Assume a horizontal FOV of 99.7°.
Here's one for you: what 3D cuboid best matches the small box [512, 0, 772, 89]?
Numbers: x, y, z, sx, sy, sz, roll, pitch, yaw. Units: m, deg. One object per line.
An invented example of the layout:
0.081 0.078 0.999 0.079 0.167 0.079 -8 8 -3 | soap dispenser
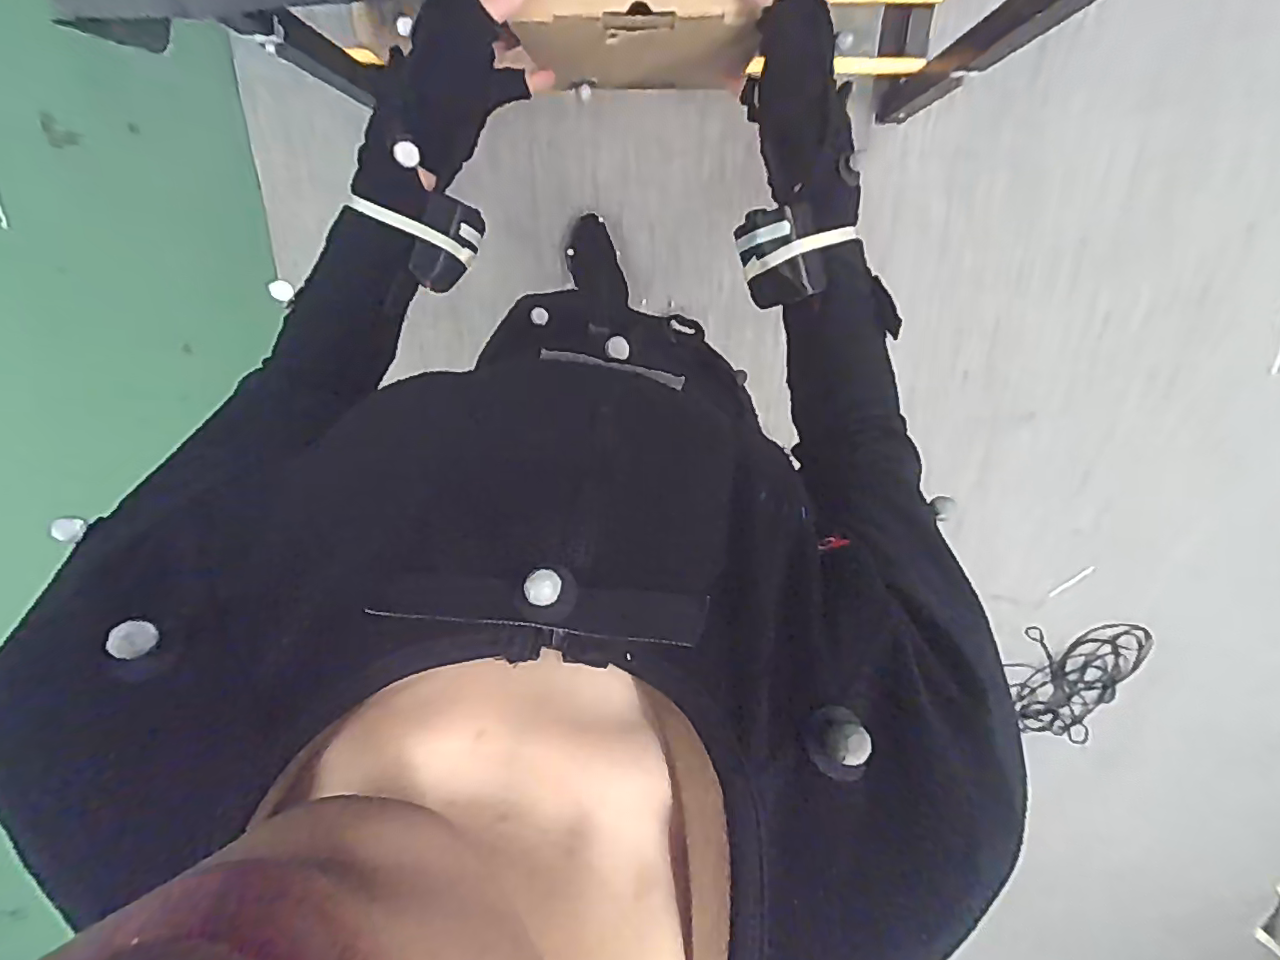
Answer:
0.005 -0.397 0.379 0.168 0.176 0.179 1 112 1 | small box
